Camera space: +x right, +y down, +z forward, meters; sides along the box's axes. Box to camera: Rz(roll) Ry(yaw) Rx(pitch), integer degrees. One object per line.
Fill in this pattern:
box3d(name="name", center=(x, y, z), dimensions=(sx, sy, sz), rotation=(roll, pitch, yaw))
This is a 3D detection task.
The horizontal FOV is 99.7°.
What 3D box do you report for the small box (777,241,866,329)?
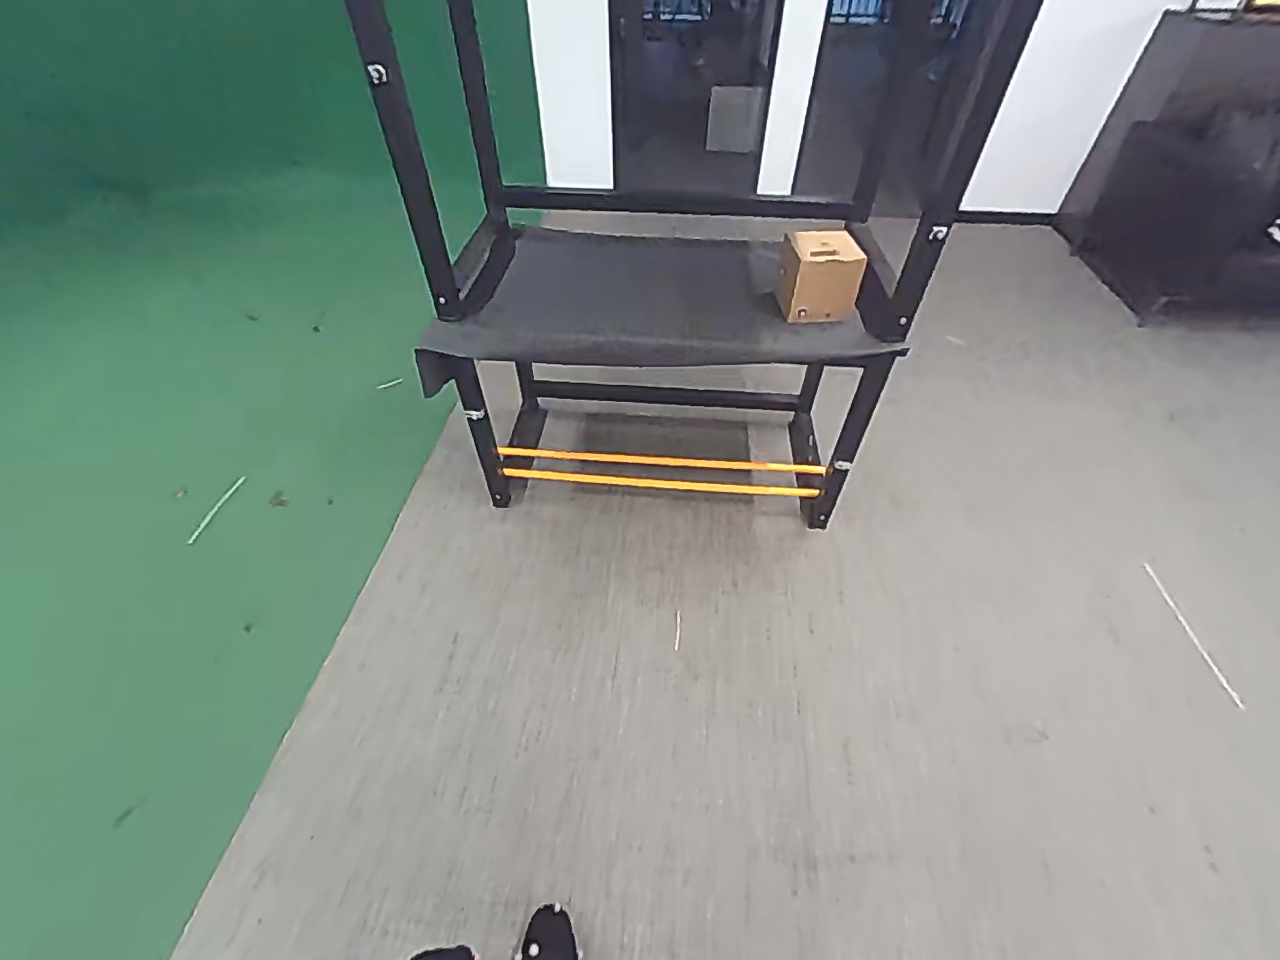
box3d(name="small box", center=(0.471, -0.513, 1.429), dimensions=(0.168, 0.176, 0.179), rotation=(-1, 45, -1))
